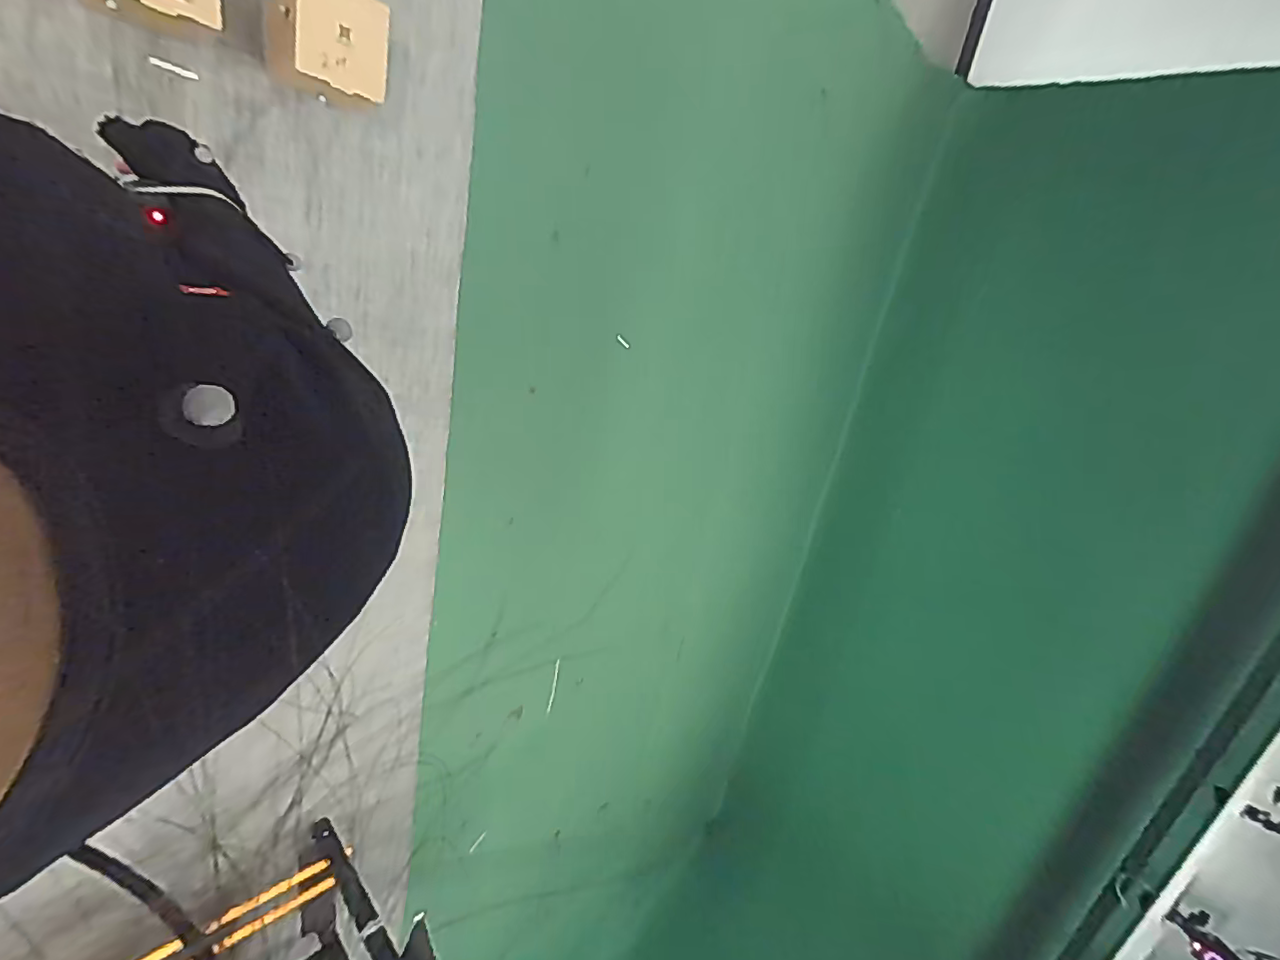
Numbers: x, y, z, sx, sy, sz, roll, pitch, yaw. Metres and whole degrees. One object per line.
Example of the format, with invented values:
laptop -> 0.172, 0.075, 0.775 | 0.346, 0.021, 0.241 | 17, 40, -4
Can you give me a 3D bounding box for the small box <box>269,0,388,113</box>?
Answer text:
small box -> -0.635, -0.878, 1.097 | 0.168, 0.176, 0.179 | -7, 116, -47
